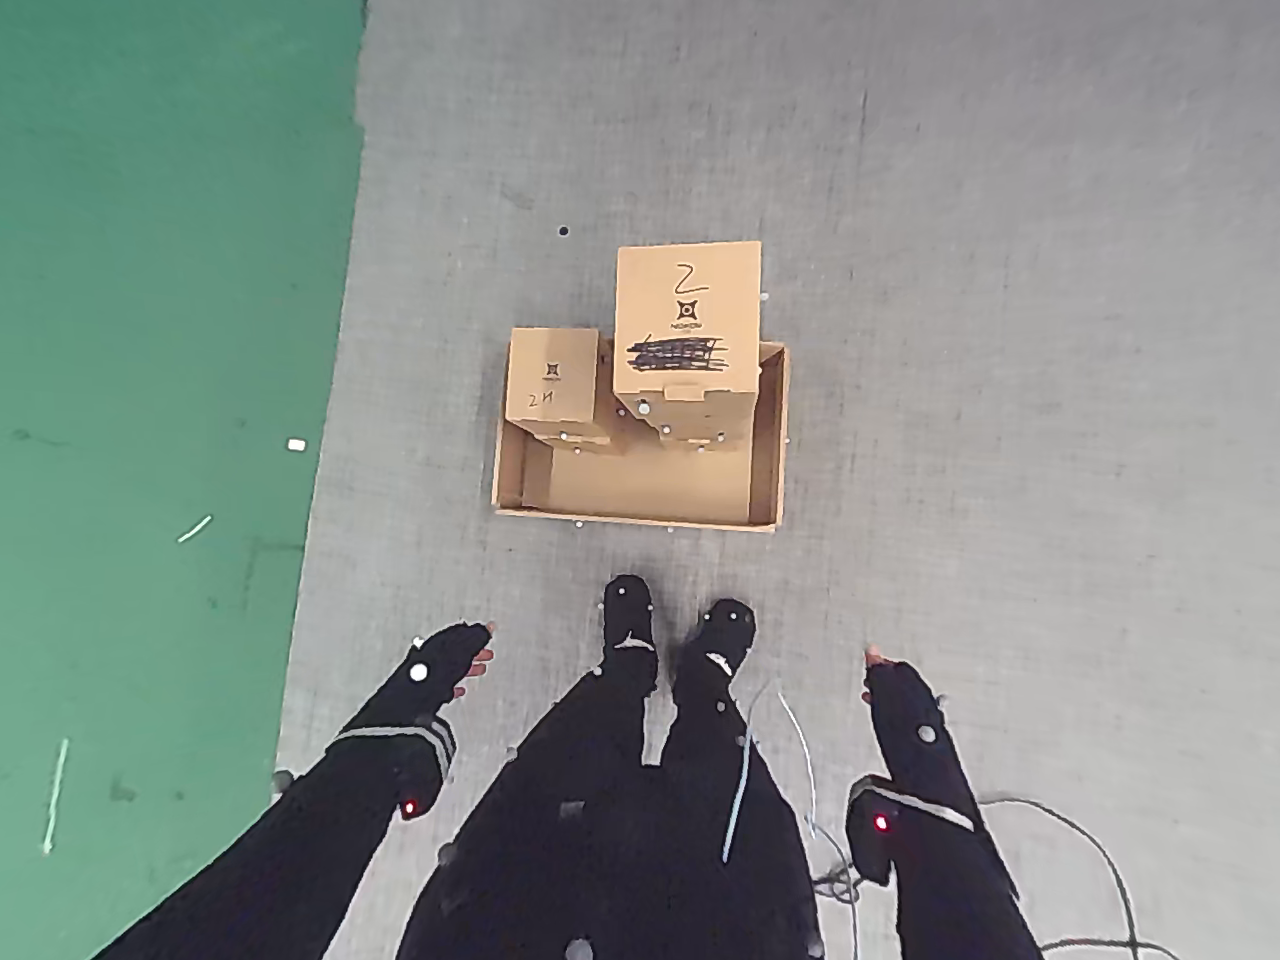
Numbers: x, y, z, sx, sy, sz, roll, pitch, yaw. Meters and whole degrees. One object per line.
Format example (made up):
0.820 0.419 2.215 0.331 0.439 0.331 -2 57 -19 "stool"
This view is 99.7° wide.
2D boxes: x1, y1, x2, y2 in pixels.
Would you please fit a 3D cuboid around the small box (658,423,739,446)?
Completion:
0.133 -0.167 1.178 0.168 0.176 0.179 -1 86 10 "small box"

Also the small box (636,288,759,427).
0.094 -0.183 0.852 0.168 0.176 0.179 5 87 8 "small box"

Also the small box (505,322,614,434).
-0.148 -0.192 1.052 0.168 0.176 0.179 3 86 8 "small box"

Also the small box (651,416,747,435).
0.119 -0.180 0.997 0.168 0.176 0.179 4 87 9 "small box"
